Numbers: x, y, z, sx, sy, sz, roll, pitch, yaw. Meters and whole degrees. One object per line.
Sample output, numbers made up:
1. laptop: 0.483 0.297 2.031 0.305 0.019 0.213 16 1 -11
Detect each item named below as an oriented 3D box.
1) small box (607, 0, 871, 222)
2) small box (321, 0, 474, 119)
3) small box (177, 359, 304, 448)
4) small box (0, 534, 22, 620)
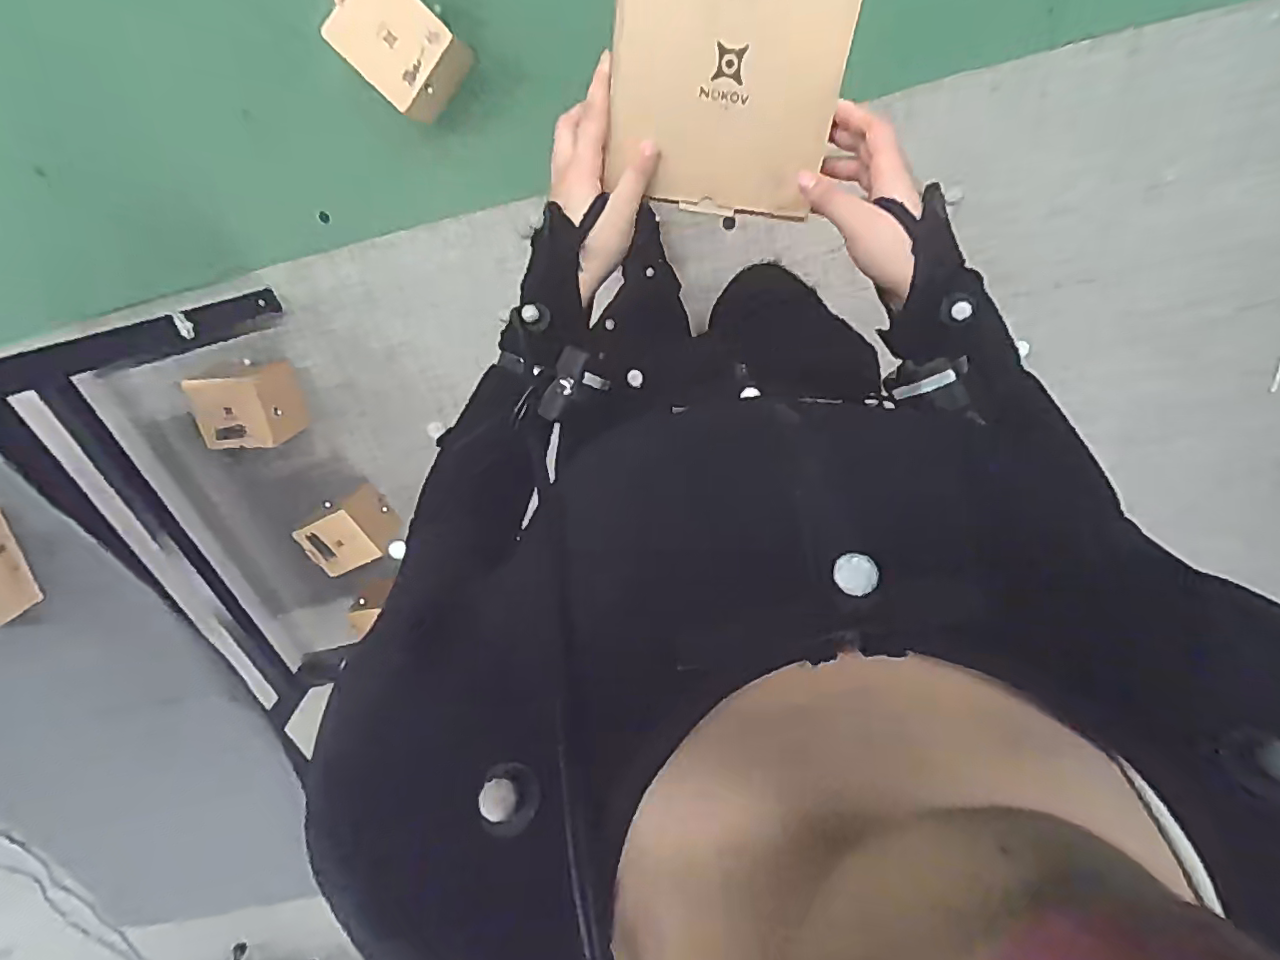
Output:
1. small box: 0.062 -0.323 0.443 0.168 0.176 0.179 4 119 -7
2. small box: -0.447 -0.826 1.023 0.179 0.176 0.168 41 109 -19
3. small box: -0.970 -0.192 1.333 0.168 0.176 0.179 -2 116 -2
4. small box: -0.956 0.134 0.678 0.179 0.176 0.168 7 117 -3
